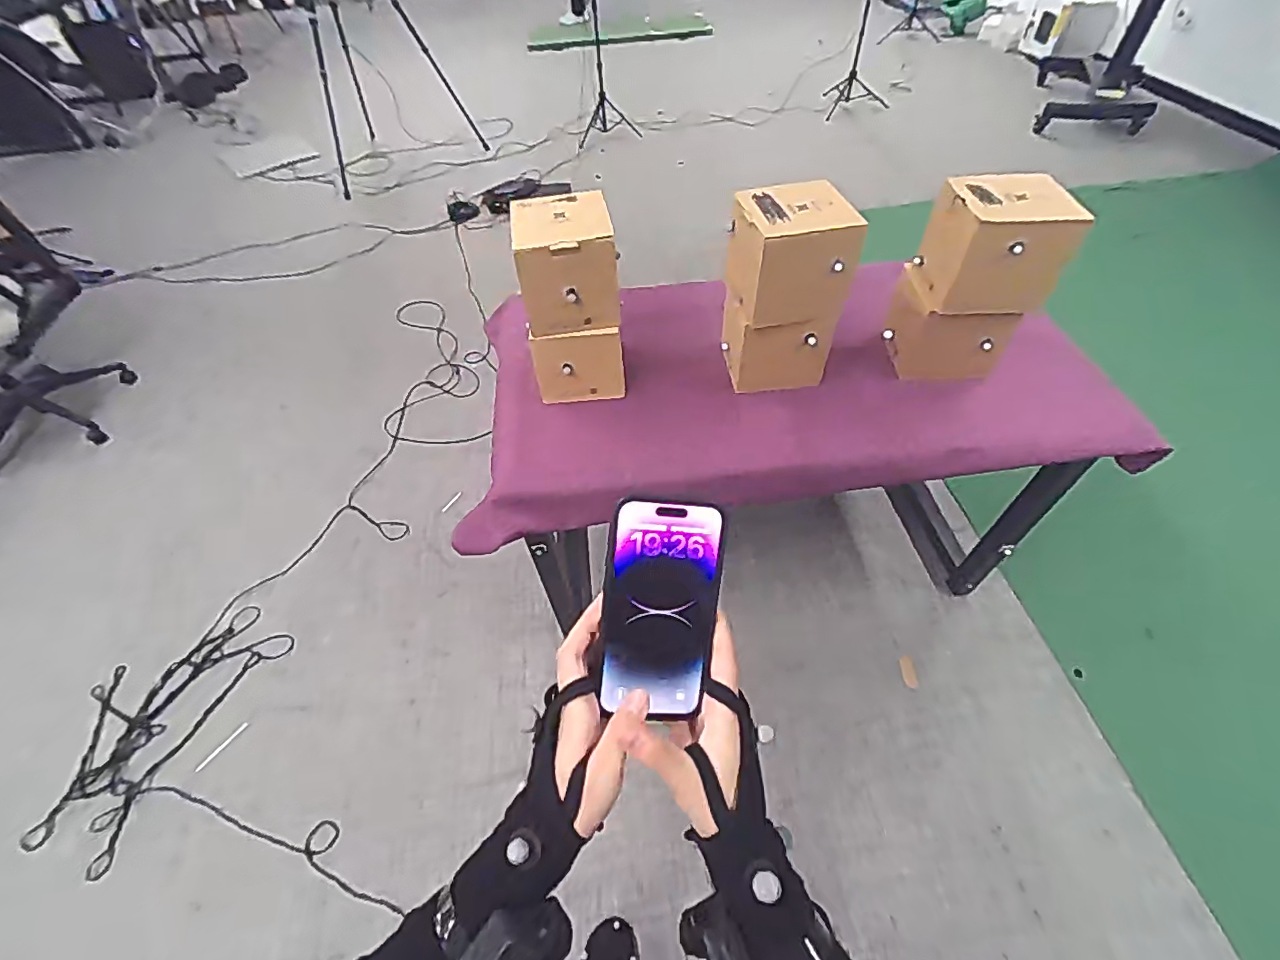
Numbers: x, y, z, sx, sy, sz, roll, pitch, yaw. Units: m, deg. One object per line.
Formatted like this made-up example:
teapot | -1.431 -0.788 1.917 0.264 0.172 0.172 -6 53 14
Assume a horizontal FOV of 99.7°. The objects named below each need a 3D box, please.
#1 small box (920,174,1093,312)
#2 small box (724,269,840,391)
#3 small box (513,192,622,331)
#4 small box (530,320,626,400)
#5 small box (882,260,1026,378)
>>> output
small box | 0.614 -0.408 0.941 0.179 0.176 0.168 -1 51 2
small box | 0.272 -0.297 1.082 0.179 0.176 0.168 -5 51 -1
small box | -0.127 -0.383 0.967 0.168 0.176 0.179 -9 52 -4
small box | -0.118 -0.275 1.091 0.168 0.176 0.179 -5 51 0
small box | 0.612 -0.318 1.078 0.179 0.176 0.168 -1 51 3
